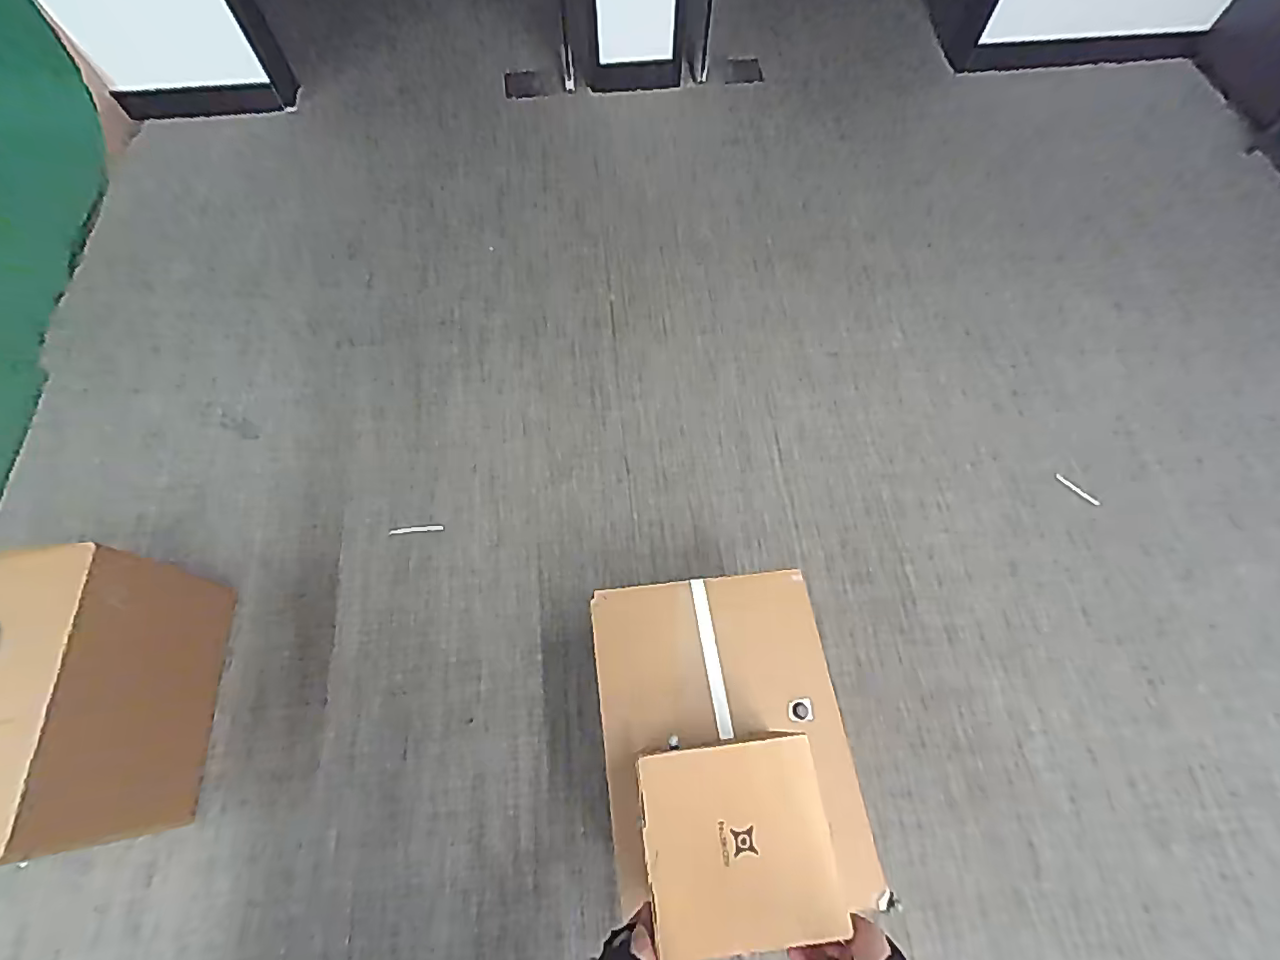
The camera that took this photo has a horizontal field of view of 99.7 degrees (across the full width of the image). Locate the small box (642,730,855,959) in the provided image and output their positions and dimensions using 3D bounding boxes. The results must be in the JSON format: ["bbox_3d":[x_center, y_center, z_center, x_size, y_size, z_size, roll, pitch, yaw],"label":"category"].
[{"bbox_3d":[0.098,0.368,0.578,0.179,0.176,0.168,-8,66,-1],"label":"small box"}]

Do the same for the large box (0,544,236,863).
[{"bbox_3d":[-0.915,0.354,0.843,0.320,0.320,0.408,-7,65,-3],"label":"large box"}]
